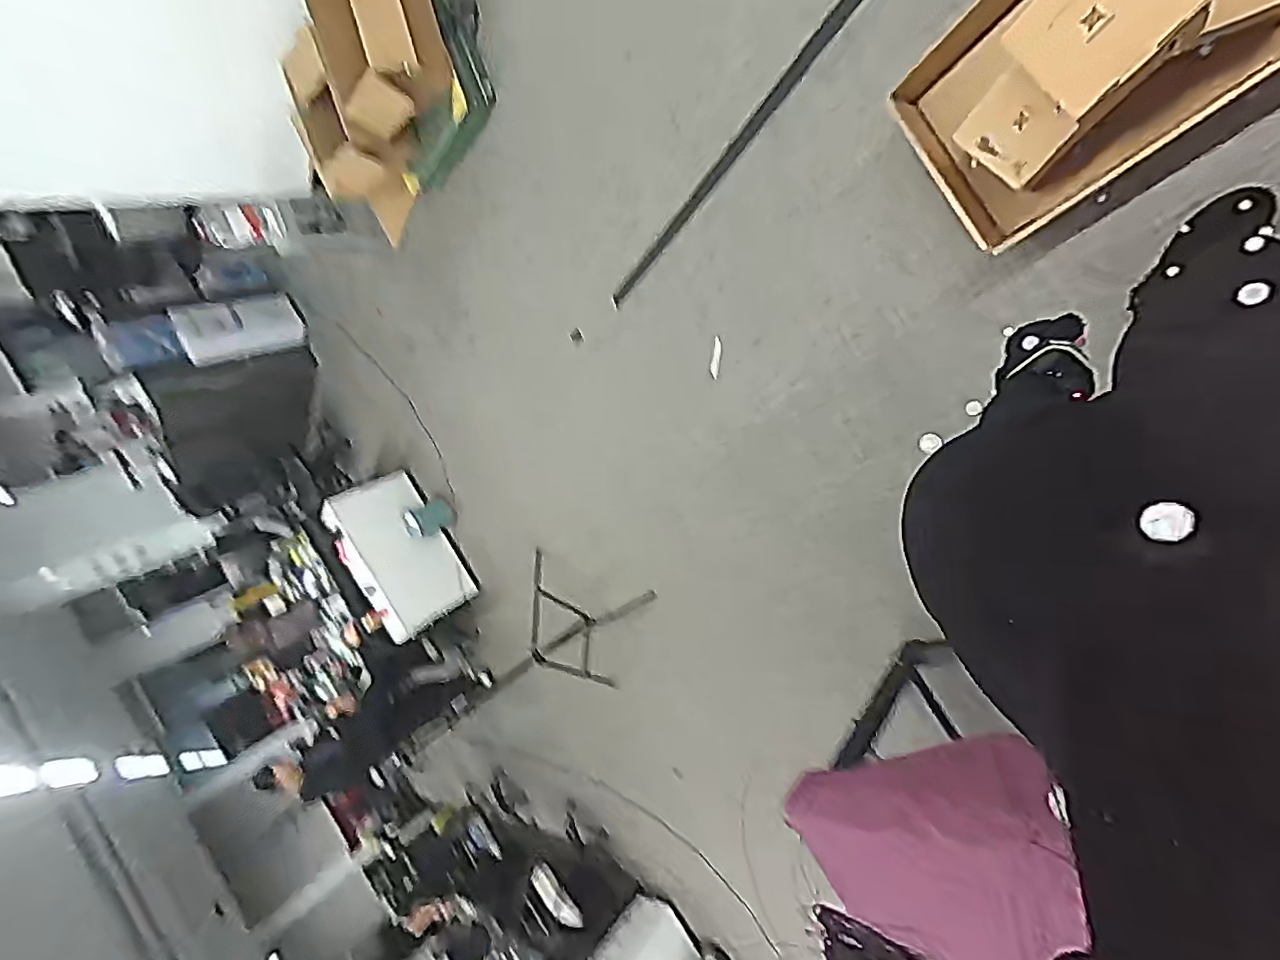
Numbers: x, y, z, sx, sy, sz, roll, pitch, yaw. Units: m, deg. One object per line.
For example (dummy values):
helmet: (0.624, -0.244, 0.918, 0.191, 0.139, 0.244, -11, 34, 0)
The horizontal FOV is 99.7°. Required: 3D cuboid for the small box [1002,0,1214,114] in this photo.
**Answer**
small box: (0.684, -0.671, 0.791, 0.179, 0.176, 0.168, 54, 138, 10)
